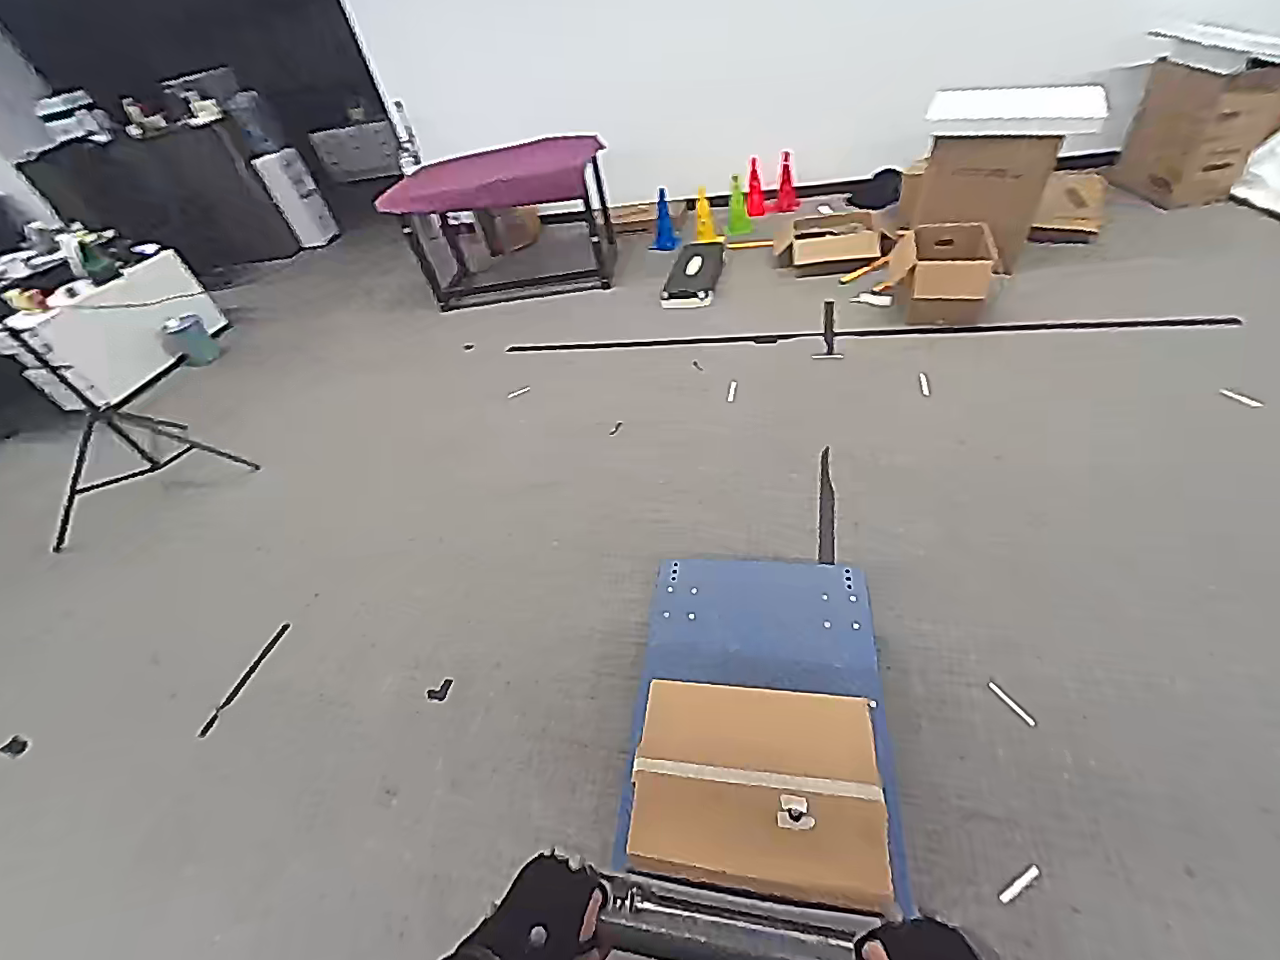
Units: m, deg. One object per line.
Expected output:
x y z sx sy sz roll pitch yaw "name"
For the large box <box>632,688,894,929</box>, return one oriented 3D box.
0.221 0.622 1.033 0.408 0.320 0.320 0 48 12 "large box"
